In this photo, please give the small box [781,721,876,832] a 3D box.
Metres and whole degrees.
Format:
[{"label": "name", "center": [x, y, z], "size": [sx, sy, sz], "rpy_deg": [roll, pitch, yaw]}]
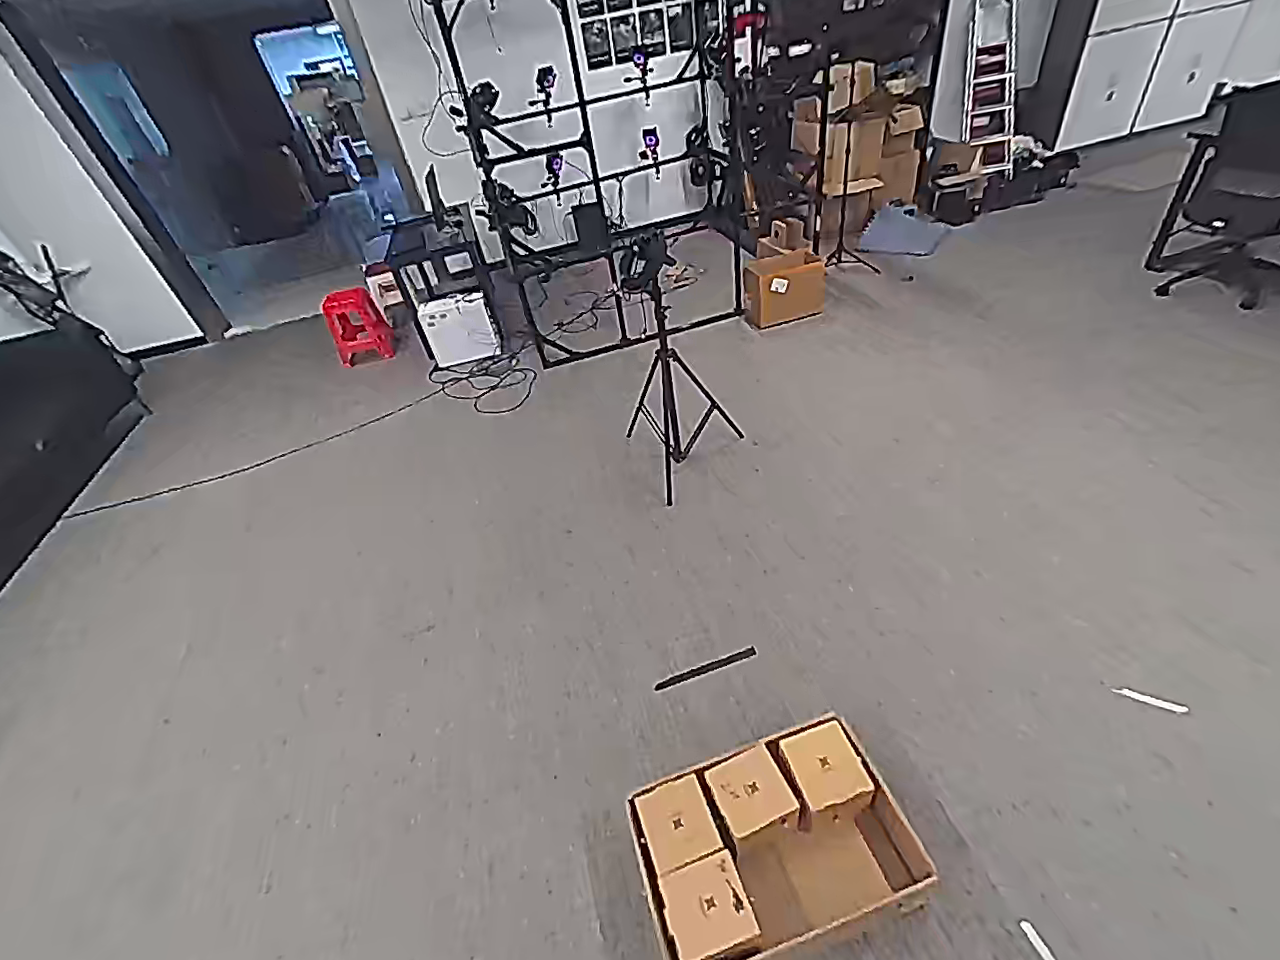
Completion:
[{"label": "small box", "center": [0.473, 0.762, 1.389], "size": [0.168, 0.176, 0.179], "rpy_deg": [-18, 43, -6]}]
